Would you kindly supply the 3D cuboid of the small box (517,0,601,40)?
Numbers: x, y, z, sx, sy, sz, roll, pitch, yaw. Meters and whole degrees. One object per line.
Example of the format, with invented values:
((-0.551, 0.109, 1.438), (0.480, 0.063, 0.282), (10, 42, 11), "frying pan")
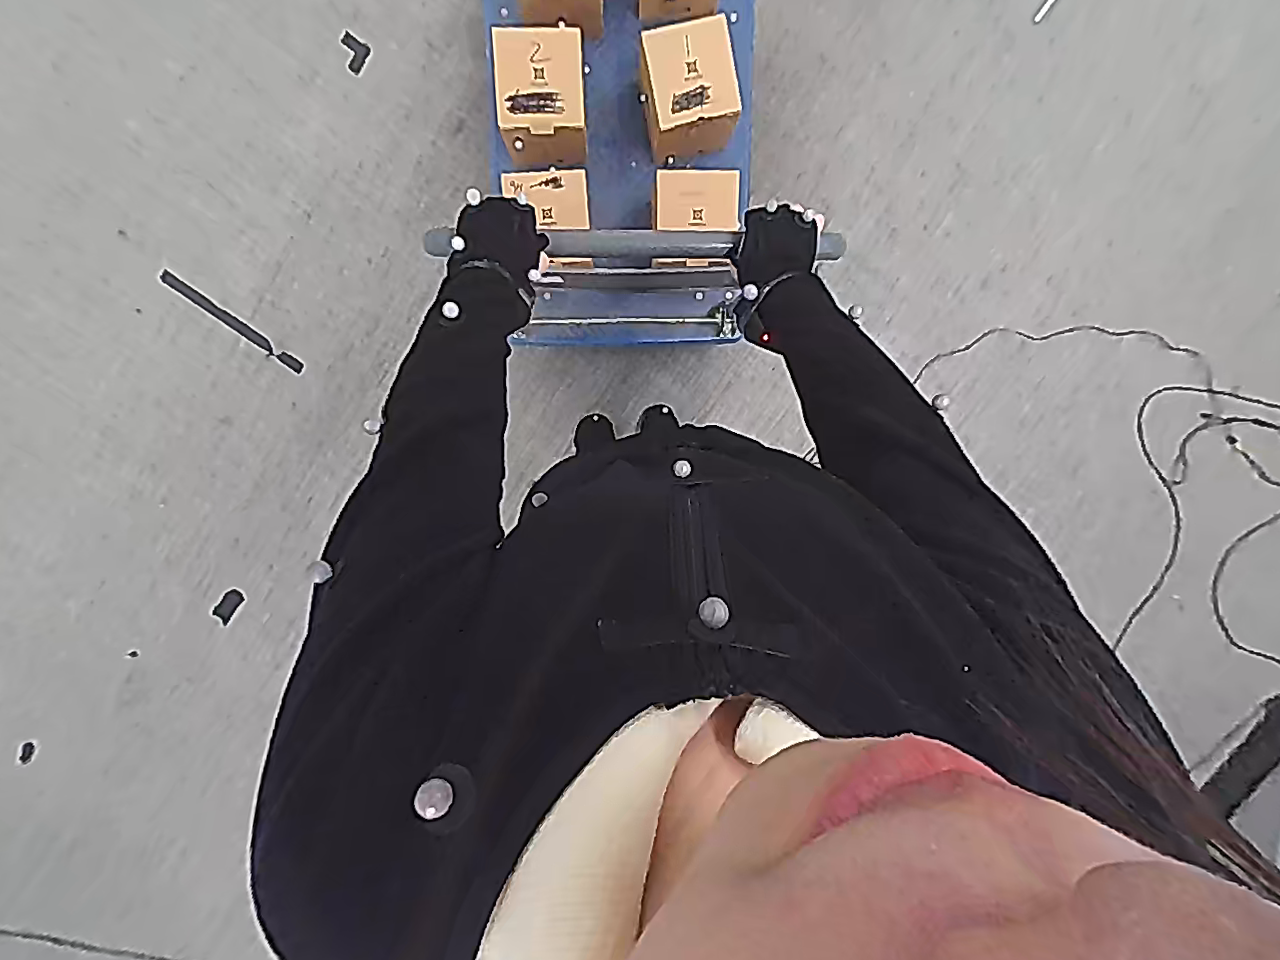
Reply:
((-0.161, -1.018, 1.062), (0.168, 0.176, 0.179), (0, 100, -3), "small box")

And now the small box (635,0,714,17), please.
((0.070, -1.060, 1.069), (0.168, 0.176, 0.179), (-4, 99, -2), "small box")

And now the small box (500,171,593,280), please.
((-0.189, -0.526, 1.142), (0.168, 0.176, 0.179), (-5, 100, -3), "small box")

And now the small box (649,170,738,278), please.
((0.108, -0.538, 1.158), (0.168, 0.176, 0.179), (-1, 99, -3), "small box")
